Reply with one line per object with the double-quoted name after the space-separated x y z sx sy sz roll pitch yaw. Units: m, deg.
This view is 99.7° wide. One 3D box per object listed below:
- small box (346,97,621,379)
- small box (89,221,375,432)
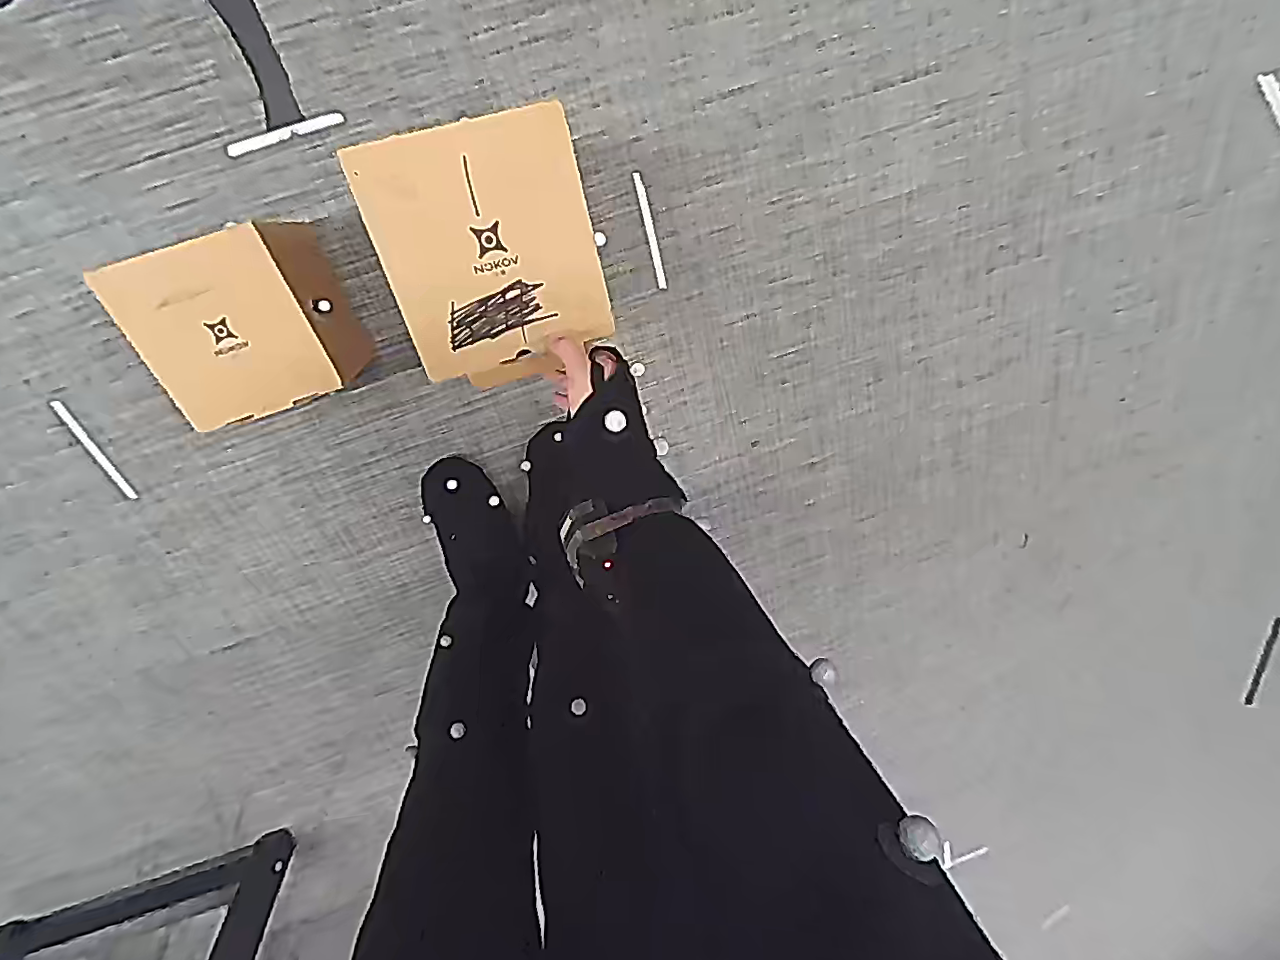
-0.124 -0.213 0.488 0.168 0.176 0.179 -16 117 -5 "small box"
-0.434 -0.183 0.619 0.168 0.176 0.179 -20 117 -4 "small box"
